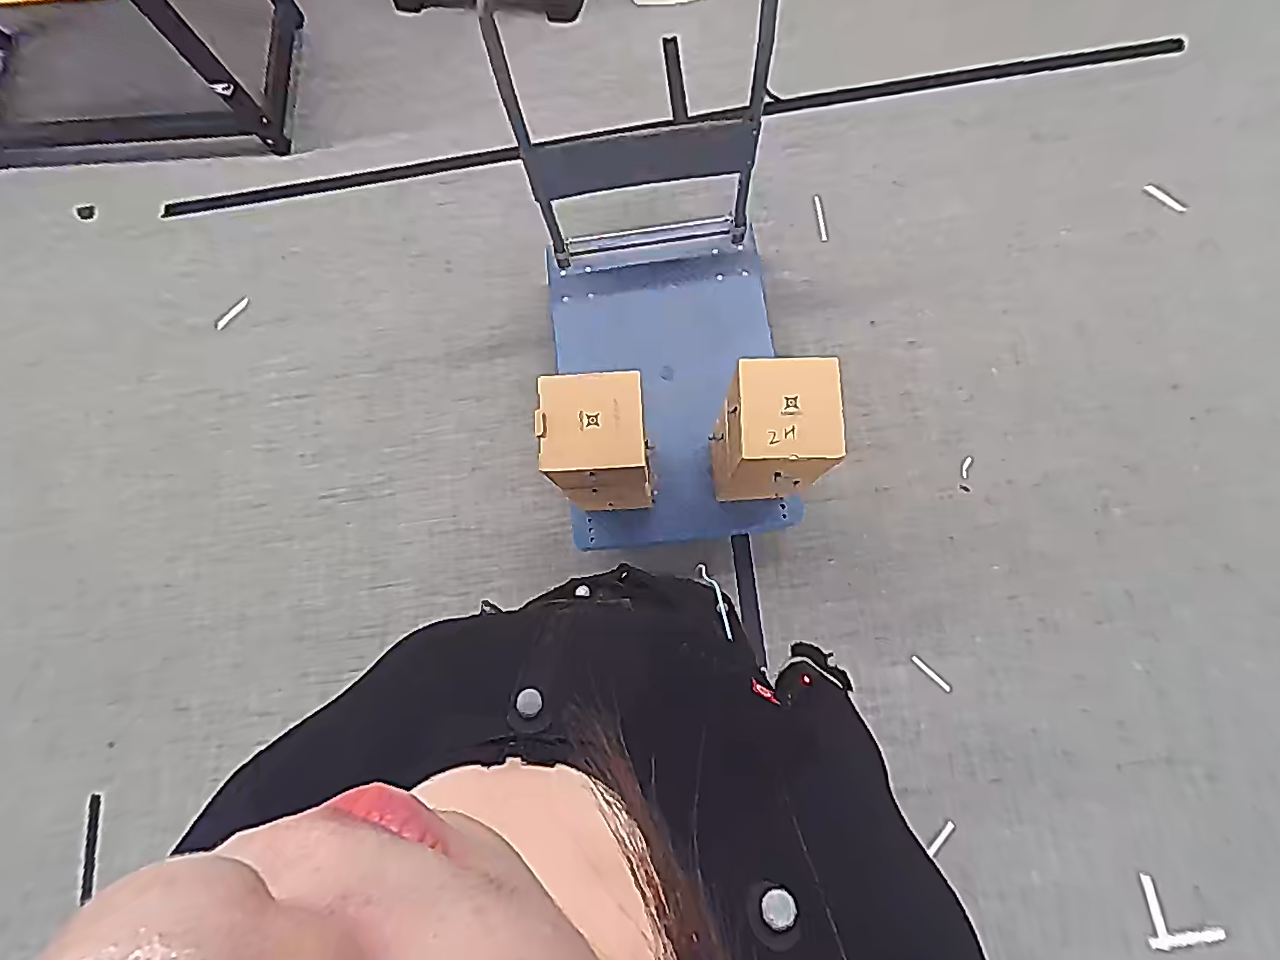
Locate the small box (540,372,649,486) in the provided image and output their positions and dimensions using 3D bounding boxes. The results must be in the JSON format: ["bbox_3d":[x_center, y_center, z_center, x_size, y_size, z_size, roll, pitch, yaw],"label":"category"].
[{"bbox_3d":[-0.076,-0.084,0.975,0.179,0.176,0.168,-3,81,2],"label":"small box"}]

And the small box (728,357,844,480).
[{"bbox_3d":[0.249,-0.103,0.960,0.168,0.176,0.179,0,79,3],"label":"small box"}]

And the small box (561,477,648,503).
[{"bbox_3d":[-0.073,-0.056,1.136,0.168,0.176,0.179,-5,78,2],"label":"small box"}]

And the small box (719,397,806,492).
[{"bbox_3d":[0.257,-0.070,1.121,0.179,0.176,0.168,-1,79,2],"label":"small box"}]

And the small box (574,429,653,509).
[{"bbox_3d":[-0.059,-0.025,1.297,0.179,0.176,0.168,-3,79,3],"label":"small box"}]
